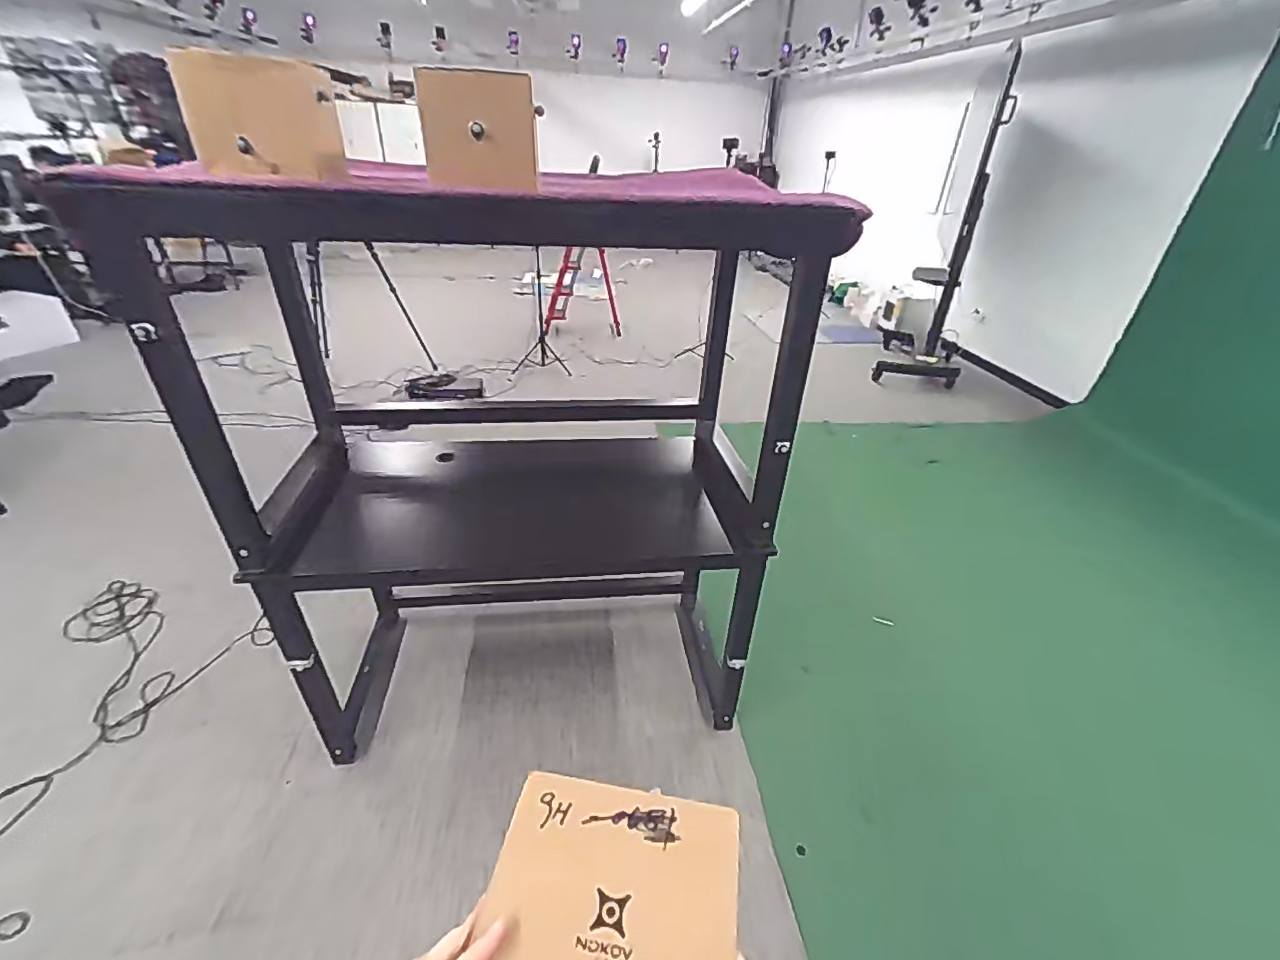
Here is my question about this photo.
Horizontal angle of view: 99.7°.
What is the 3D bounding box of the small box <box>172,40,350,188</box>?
[{"bbox_3d":[-0.580,-0.571,0.861,0.168,0.176,0.179,-3,31,-11],"label":"small box"}]
